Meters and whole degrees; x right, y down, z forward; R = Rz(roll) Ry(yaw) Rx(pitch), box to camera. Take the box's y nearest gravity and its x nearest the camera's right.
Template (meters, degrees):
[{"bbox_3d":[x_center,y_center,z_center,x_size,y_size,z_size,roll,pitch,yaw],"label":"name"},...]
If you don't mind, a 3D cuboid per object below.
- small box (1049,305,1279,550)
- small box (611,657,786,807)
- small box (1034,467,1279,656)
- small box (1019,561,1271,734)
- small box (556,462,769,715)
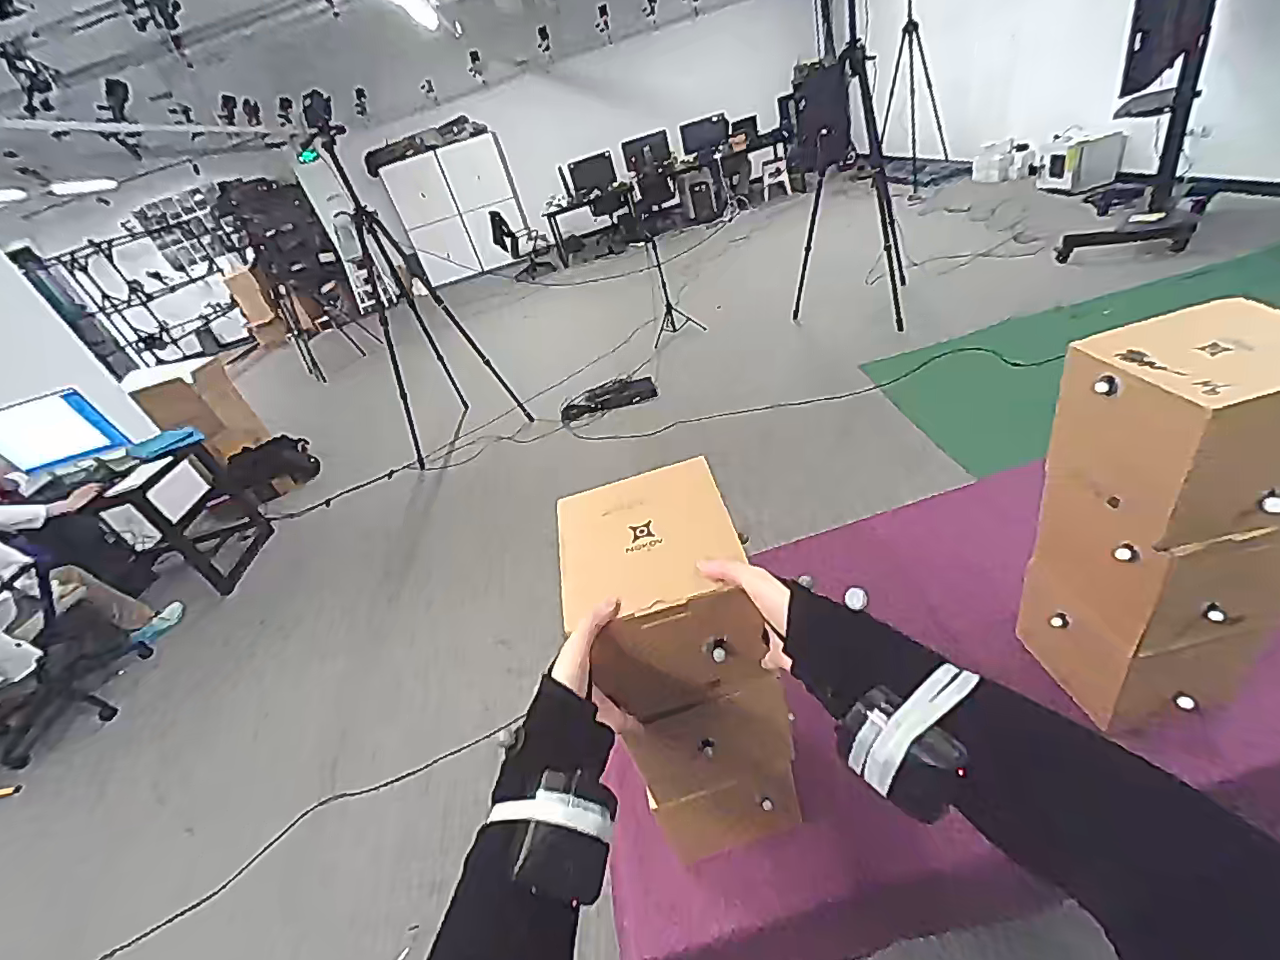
[{"bbox_3d":[0.569,-0.054,0.555,0.179,0.176,0.168,-15,33,4],"label":"small box"},{"bbox_3d":[0.064,0.252,0.650,0.179,0.176,0.168,-20,34,-1],"label":"small box"},{"bbox_3d":[0.614,0.075,0.646,0.168,0.176,0.179,-16,34,3],"label":"small box"},{"bbox_3d":[0.655,0.206,0.734,0.168,0.176,0.179,-17,33,3],"label":"small box"},{"bbox_3d":[0.023,0.116,0.551,0.168,0.176,0.179,-17,40,3],"label":"small box"}]
